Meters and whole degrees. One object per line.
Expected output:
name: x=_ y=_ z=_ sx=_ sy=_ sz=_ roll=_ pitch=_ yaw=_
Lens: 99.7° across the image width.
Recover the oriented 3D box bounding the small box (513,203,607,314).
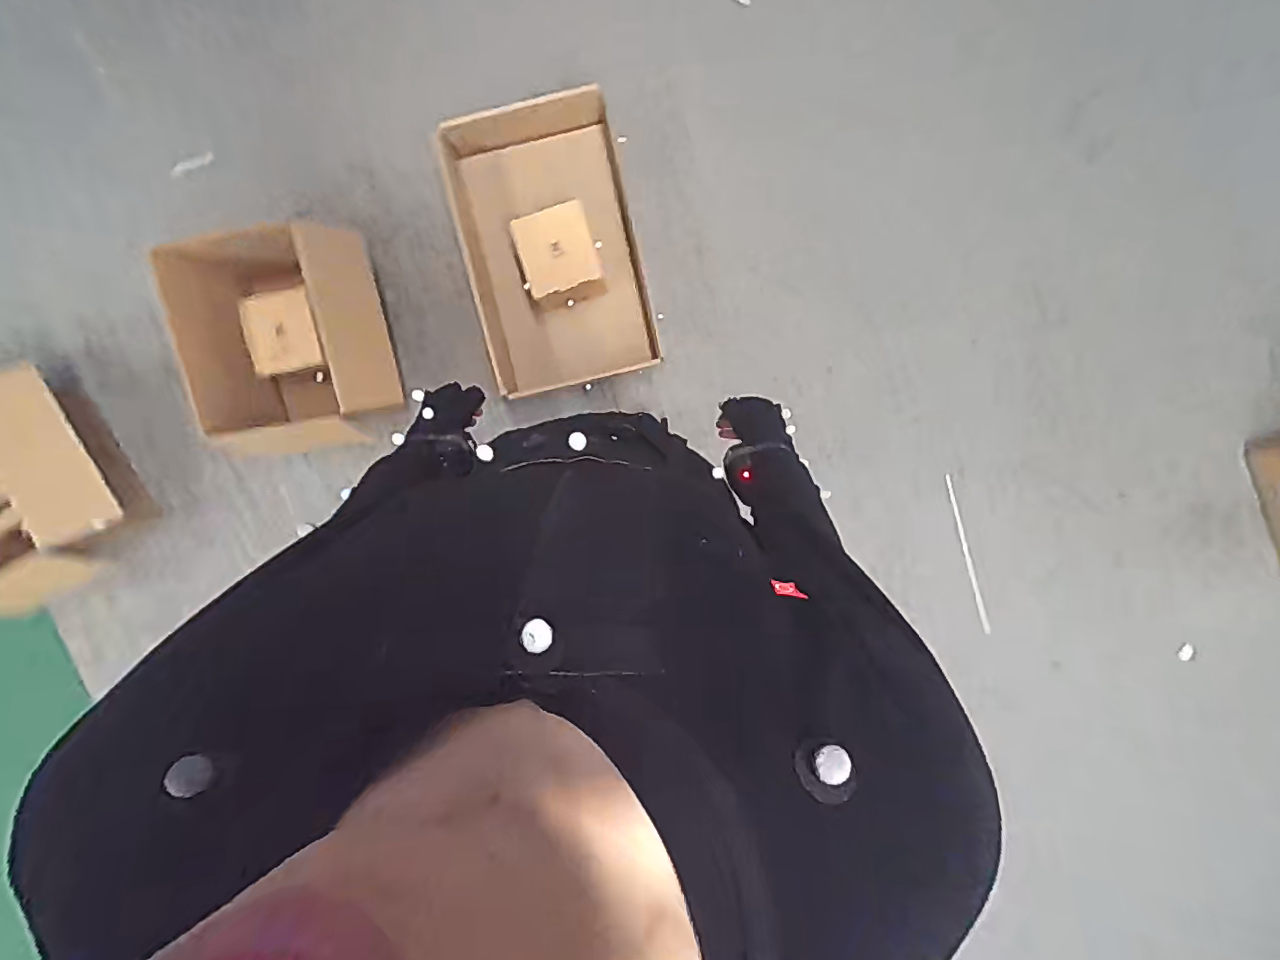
small box: x=-0.182 y=-0.513 z=1.277 sx=0.168 sy=0.176 sz=0.179 roll=-17 pitch=97 yaw=2
